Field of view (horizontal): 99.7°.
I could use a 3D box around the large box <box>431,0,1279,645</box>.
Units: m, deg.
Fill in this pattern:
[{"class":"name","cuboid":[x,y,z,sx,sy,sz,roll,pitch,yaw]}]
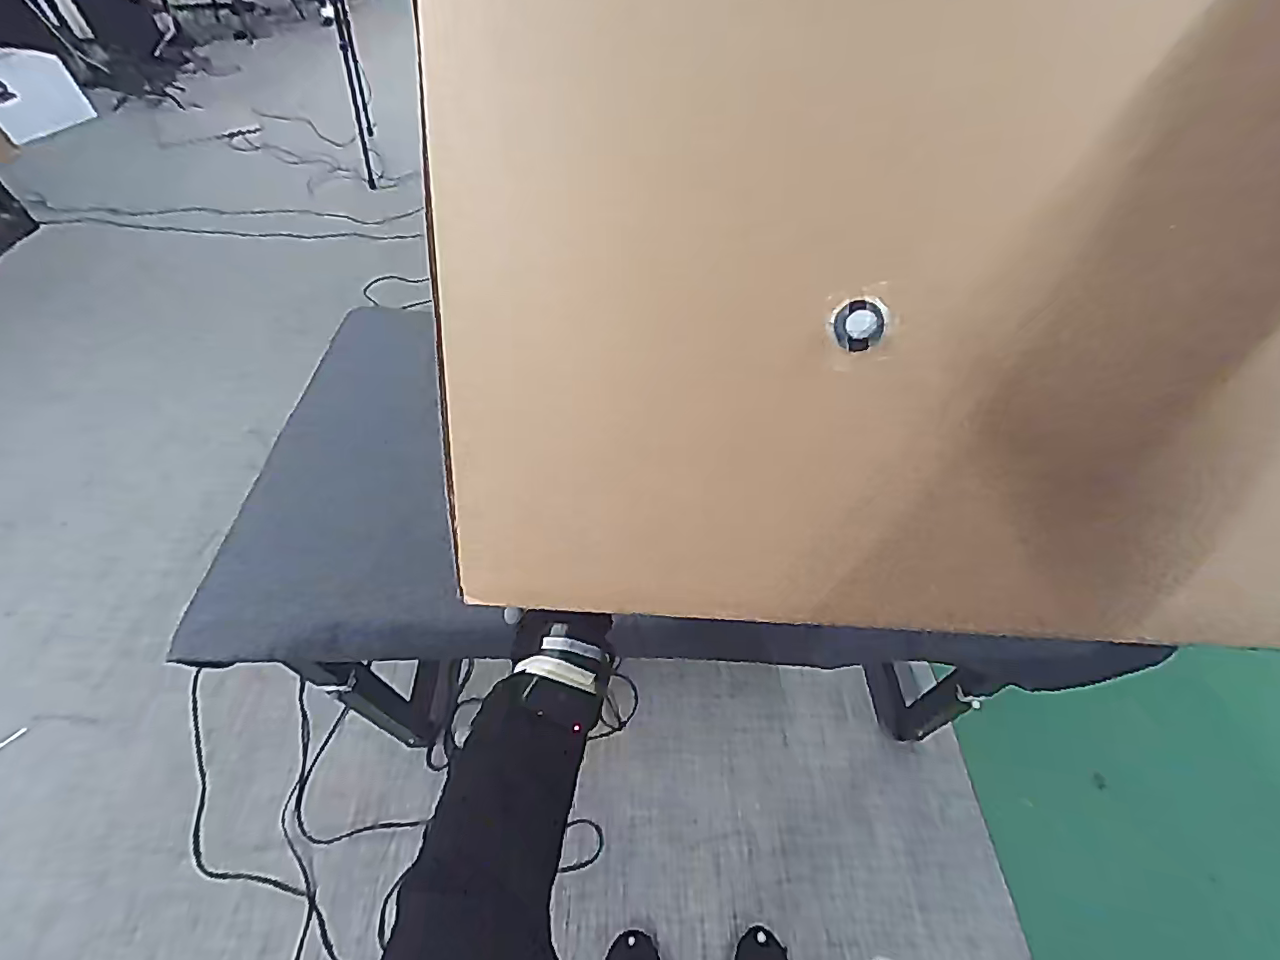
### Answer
[{"class":"large box","cuboid":[0.124,-0.095,0.398,0.408,0.320,0.320,-1,9,9]}]
